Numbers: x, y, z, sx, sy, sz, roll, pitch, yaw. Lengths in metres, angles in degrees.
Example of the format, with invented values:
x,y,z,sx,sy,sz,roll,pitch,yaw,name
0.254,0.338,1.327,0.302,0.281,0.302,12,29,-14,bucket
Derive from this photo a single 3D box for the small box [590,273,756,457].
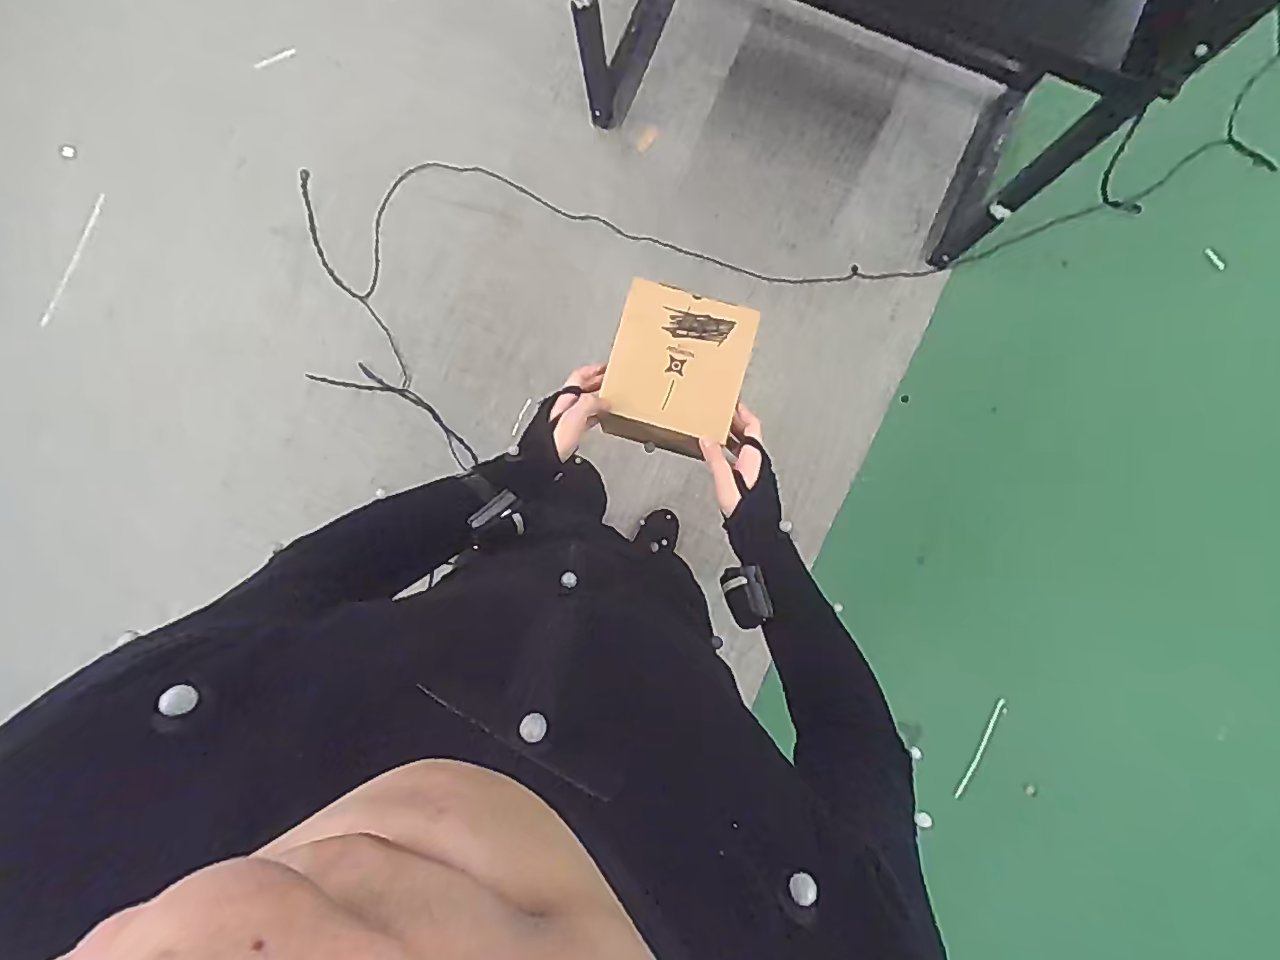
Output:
x,y,z,sx,sy,sz,roll,pitch,yaw,name
0.038,-0.142,0.728,0.168,0.176,0.179,16,86,1,small box
